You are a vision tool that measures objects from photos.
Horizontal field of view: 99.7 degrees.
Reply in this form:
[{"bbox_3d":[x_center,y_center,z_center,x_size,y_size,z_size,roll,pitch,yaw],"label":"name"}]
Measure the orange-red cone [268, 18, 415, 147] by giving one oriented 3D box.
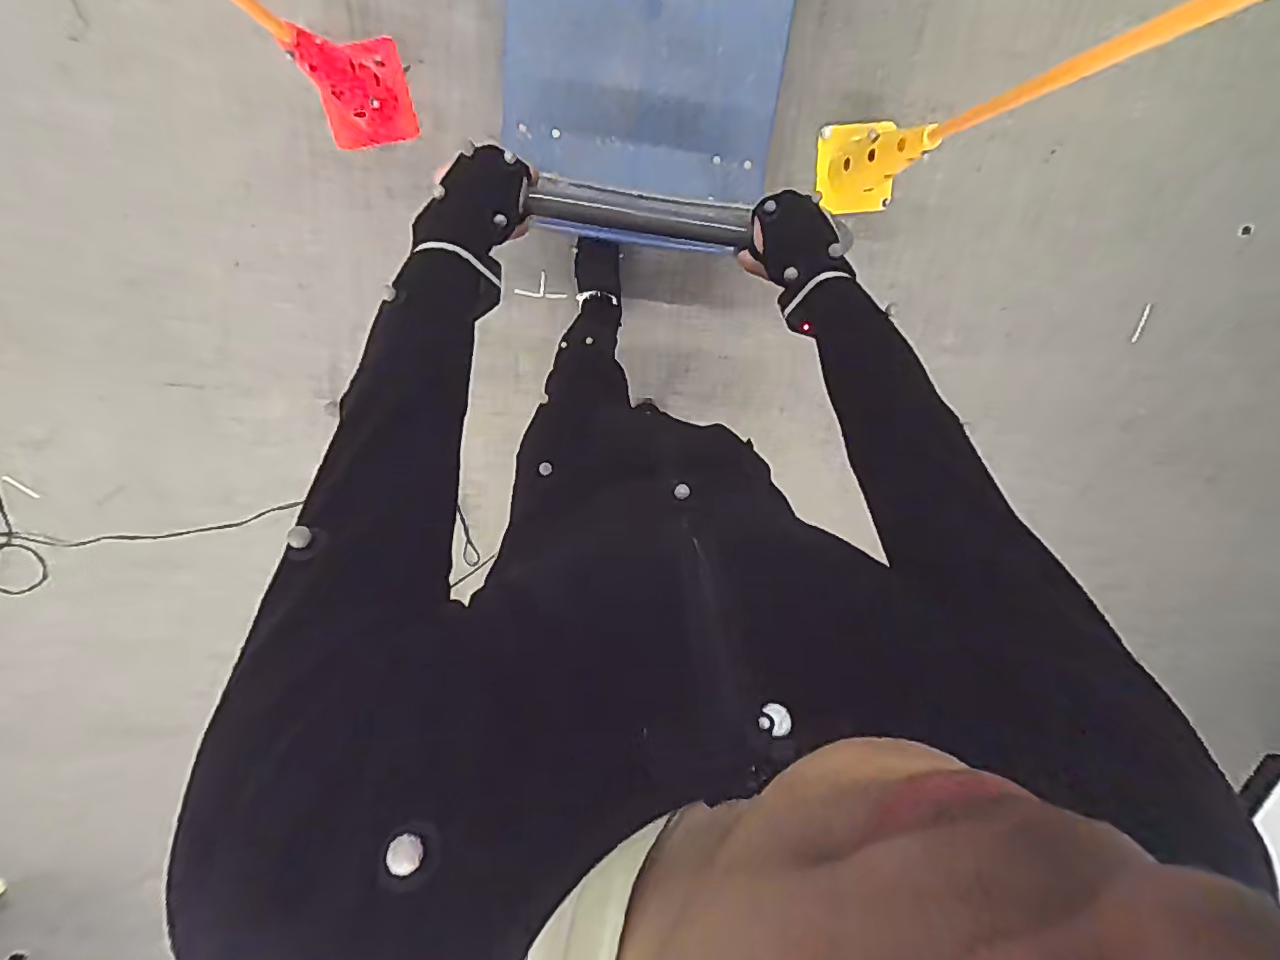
[{"bbox_3d":[-0.622,-0.821,1.078,0.199,0.360,0.198,-8,111,0],"label":"orange-red cone"}]
